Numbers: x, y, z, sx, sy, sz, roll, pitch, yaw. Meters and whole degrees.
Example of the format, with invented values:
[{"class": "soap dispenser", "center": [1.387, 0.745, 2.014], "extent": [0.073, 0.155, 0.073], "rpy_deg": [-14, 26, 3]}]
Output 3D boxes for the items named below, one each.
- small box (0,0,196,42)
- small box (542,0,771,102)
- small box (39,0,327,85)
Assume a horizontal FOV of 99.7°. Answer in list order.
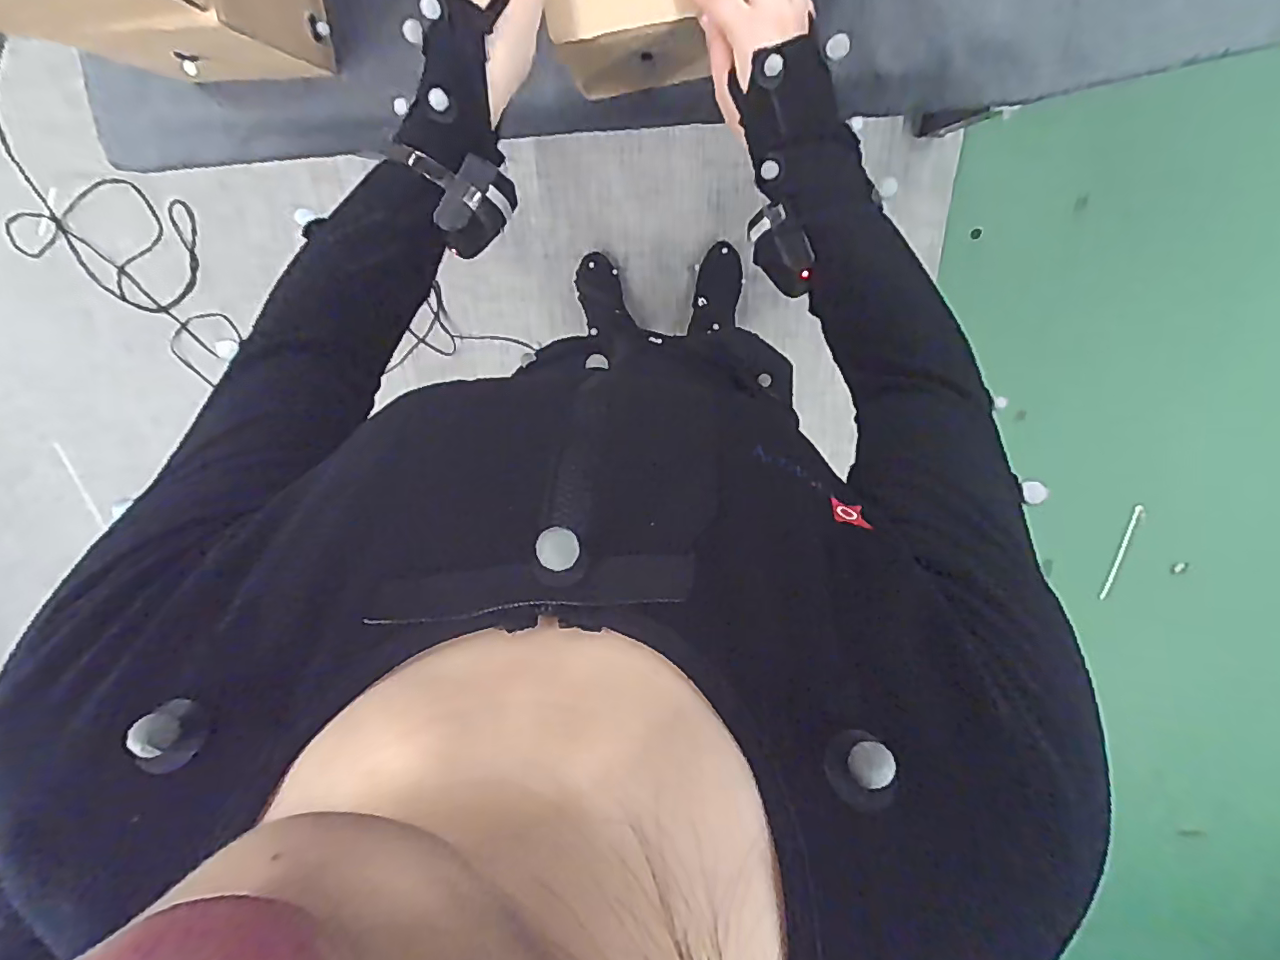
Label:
[{"class": "small box", "center": [-0.442, -0.407, 0.338], "extent": [0.179, 0.176, 0.168], "rpy_deg": [-4, 115, 6]}, {"class": "small box", "center": [0.012, -0.448, 0.461], "extent": [0.179, 0.176, 0.168], "rpy_deg": [-5, 114, 9]}, {"class": "small box", "center": [-0.415, -0.472, 0.484], "extent": [0.179, 0.176, 0.168], "rpy_deg": [1, 115, 5]}]
